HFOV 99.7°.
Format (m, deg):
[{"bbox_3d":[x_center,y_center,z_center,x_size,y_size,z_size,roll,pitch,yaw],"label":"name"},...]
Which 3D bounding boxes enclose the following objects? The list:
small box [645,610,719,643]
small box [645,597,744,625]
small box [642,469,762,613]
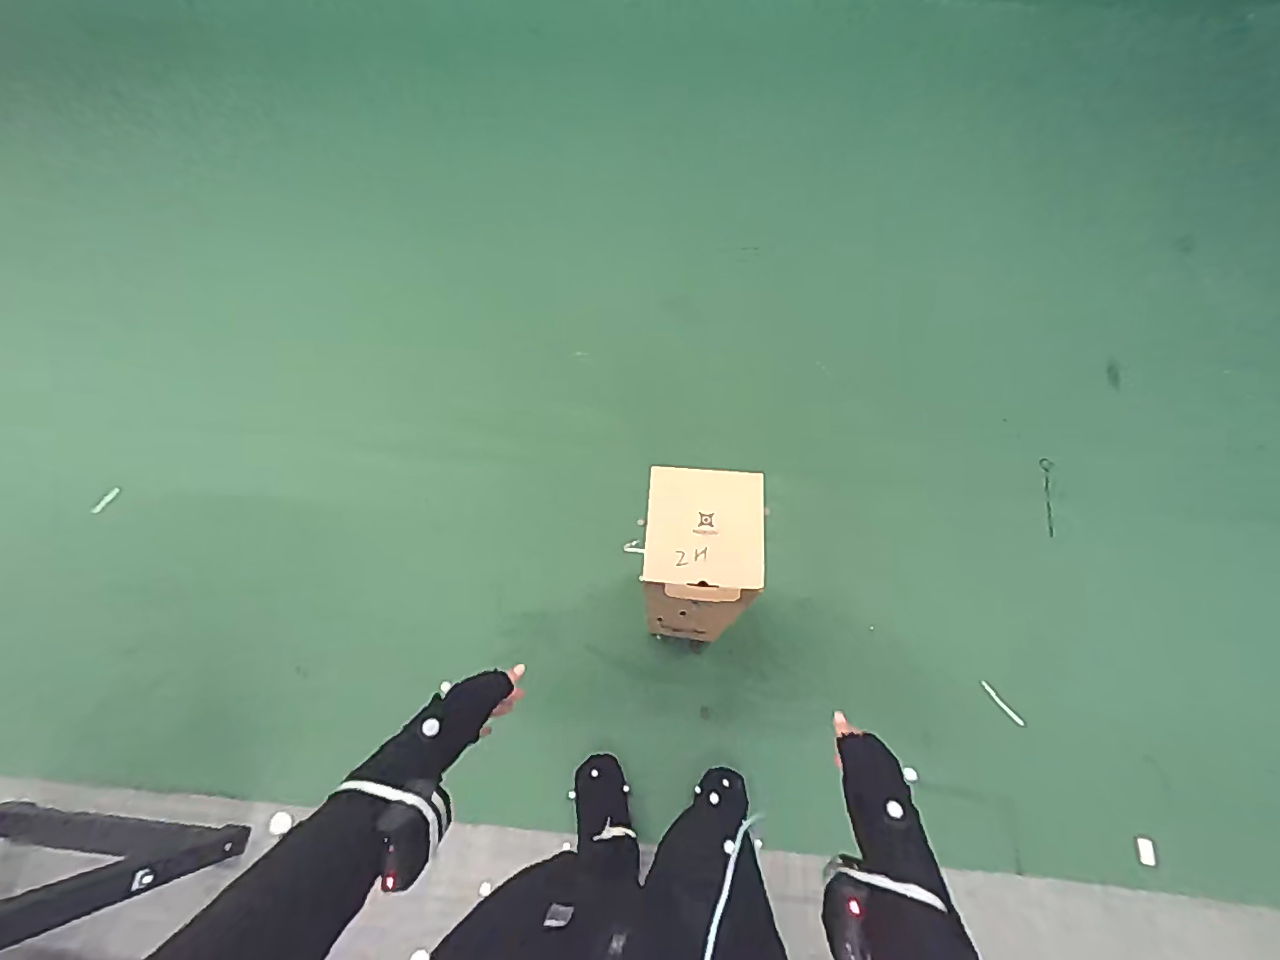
[{"bbox_3d":[0.105,0.288,1.296,0.168,0.176,0.179,7,68,4],"label":"small box"},{"bbox_3d":[0.099,0.161,0.994,0.168,0.176,0.179,5,68,3],"label":"small box"},{"bbox_3d":[0.091,0.101,0.841,0.168,0.176,0.179,4,68,3],"label":"small box"}]
